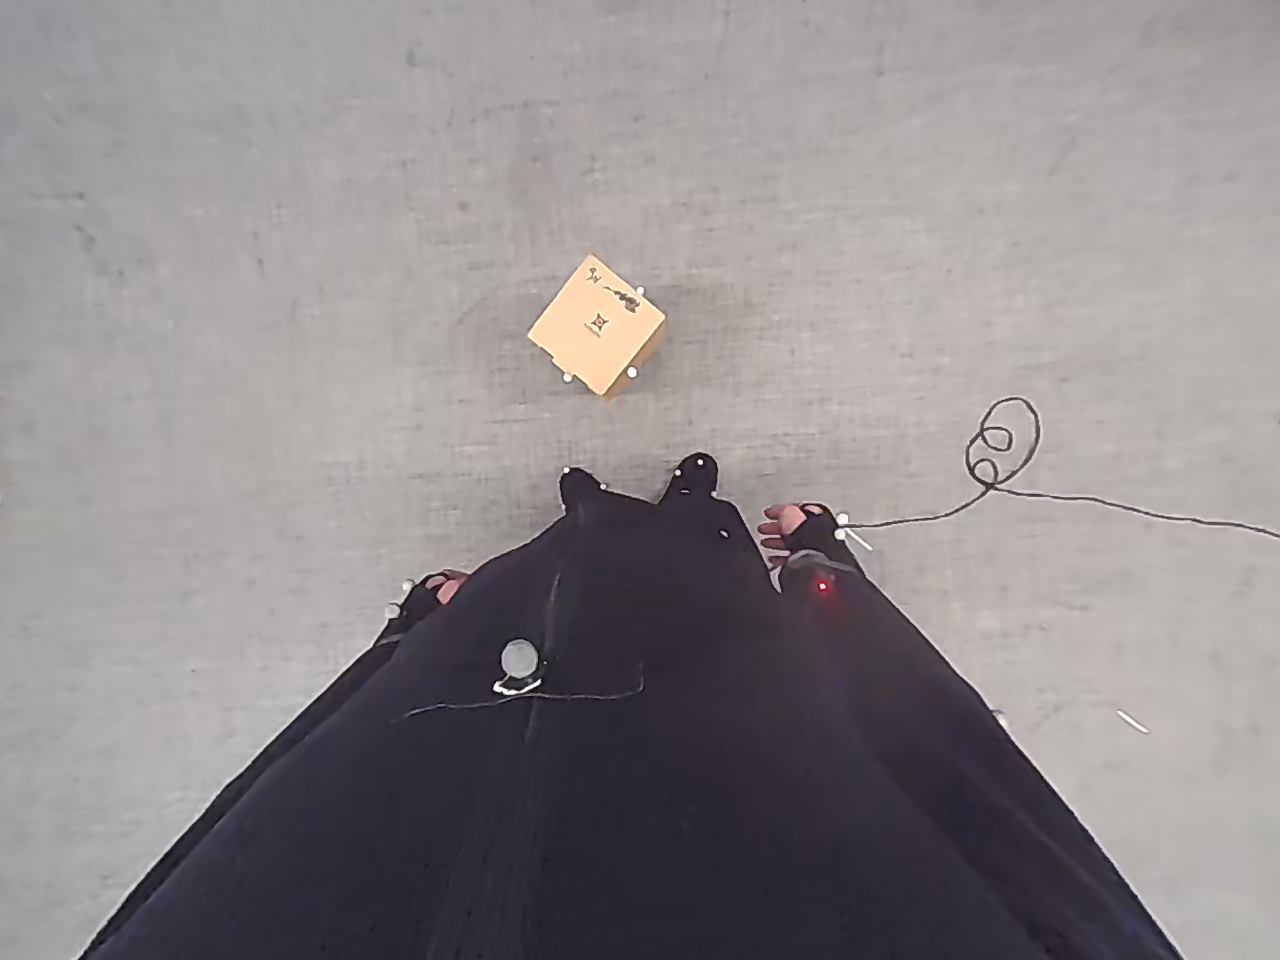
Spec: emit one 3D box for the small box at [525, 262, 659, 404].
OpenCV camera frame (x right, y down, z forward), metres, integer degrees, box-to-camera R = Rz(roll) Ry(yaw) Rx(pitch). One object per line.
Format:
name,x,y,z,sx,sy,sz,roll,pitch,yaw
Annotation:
small box,-0.077,-0.254,0.988,0.168,0.176,0.179,40,95,-2
